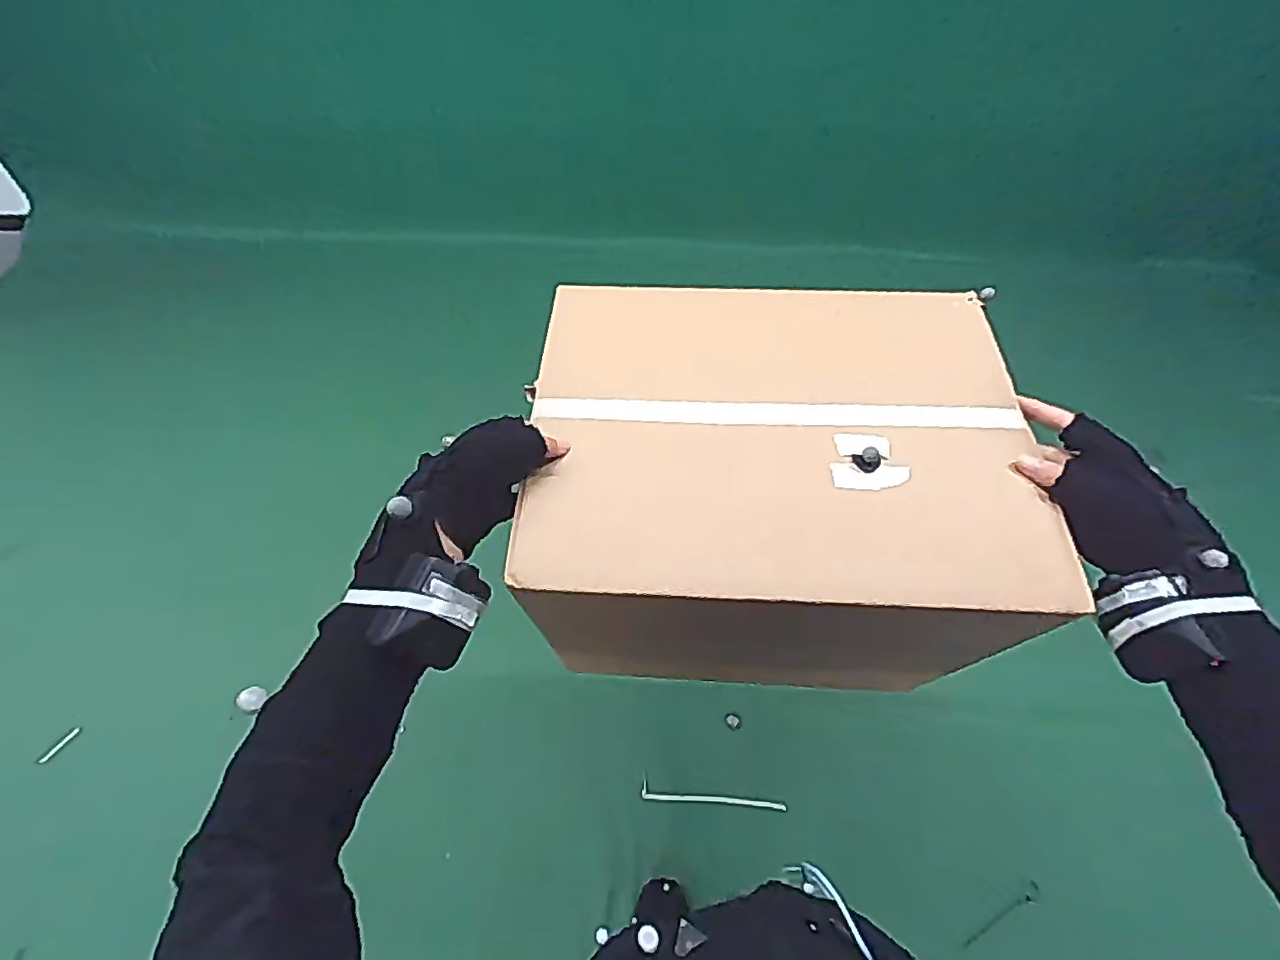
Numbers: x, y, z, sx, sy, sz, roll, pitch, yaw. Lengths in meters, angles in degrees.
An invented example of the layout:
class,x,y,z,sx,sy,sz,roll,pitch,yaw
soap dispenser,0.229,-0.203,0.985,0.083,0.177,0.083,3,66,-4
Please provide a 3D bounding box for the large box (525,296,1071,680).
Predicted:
class,x,y,z,sx,sy,sz,roll,pitch,yaw
large box,0.117,0.025,0.592,0.408,0.320,0.320,2,60,2
